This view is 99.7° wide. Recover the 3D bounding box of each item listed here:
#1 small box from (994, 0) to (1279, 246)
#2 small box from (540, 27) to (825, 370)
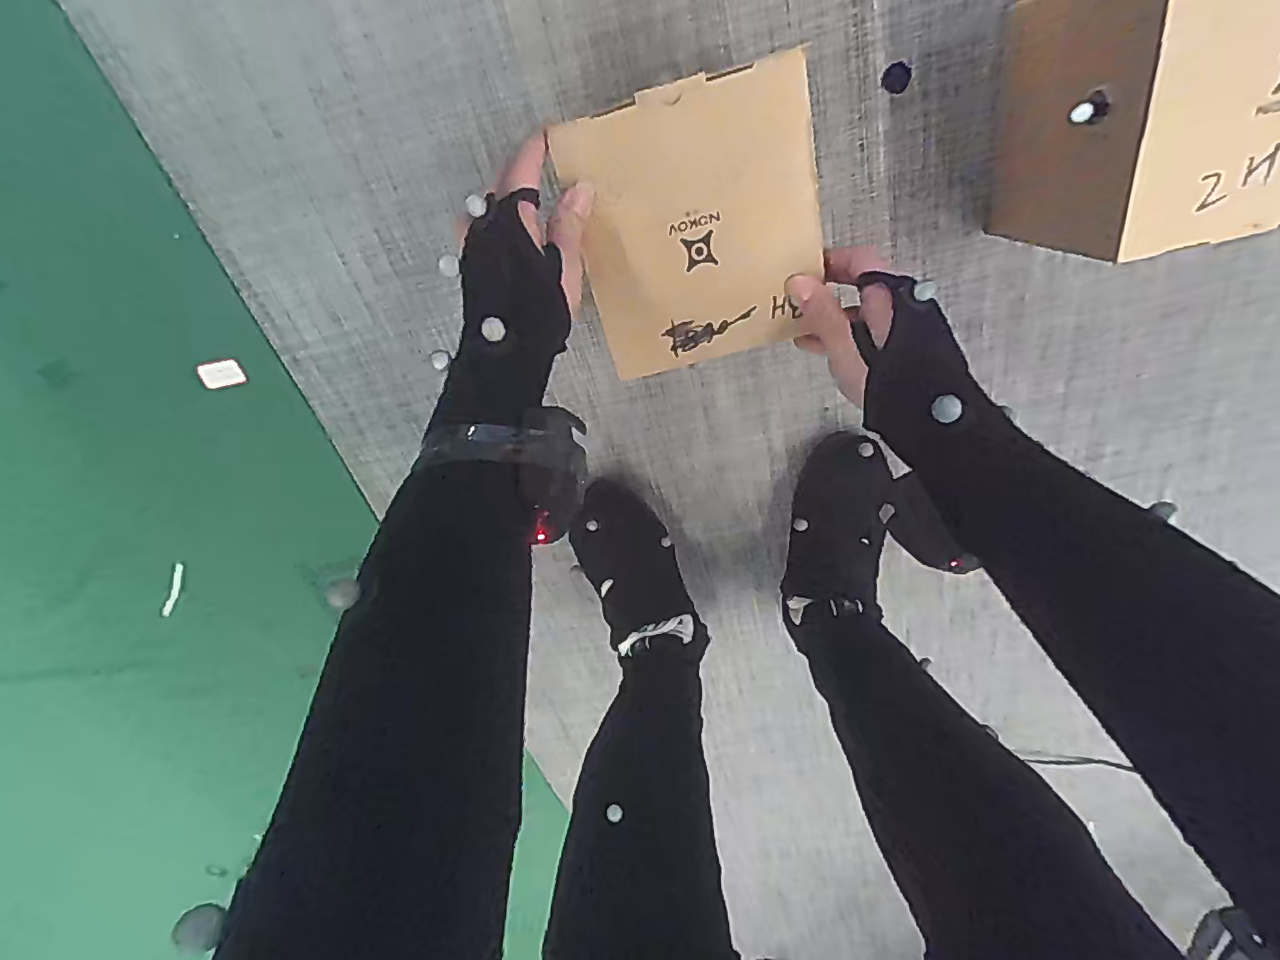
[{"bbox_3d":[0.382,-0.285,0.381,0.168,0.176,0.179,-12,120,8],"label":"small box"},{"bbox_3d":[0.036,-0.211,0.431,0.168,0.176,0.179,-12,120,8],"label":"small box"}]
